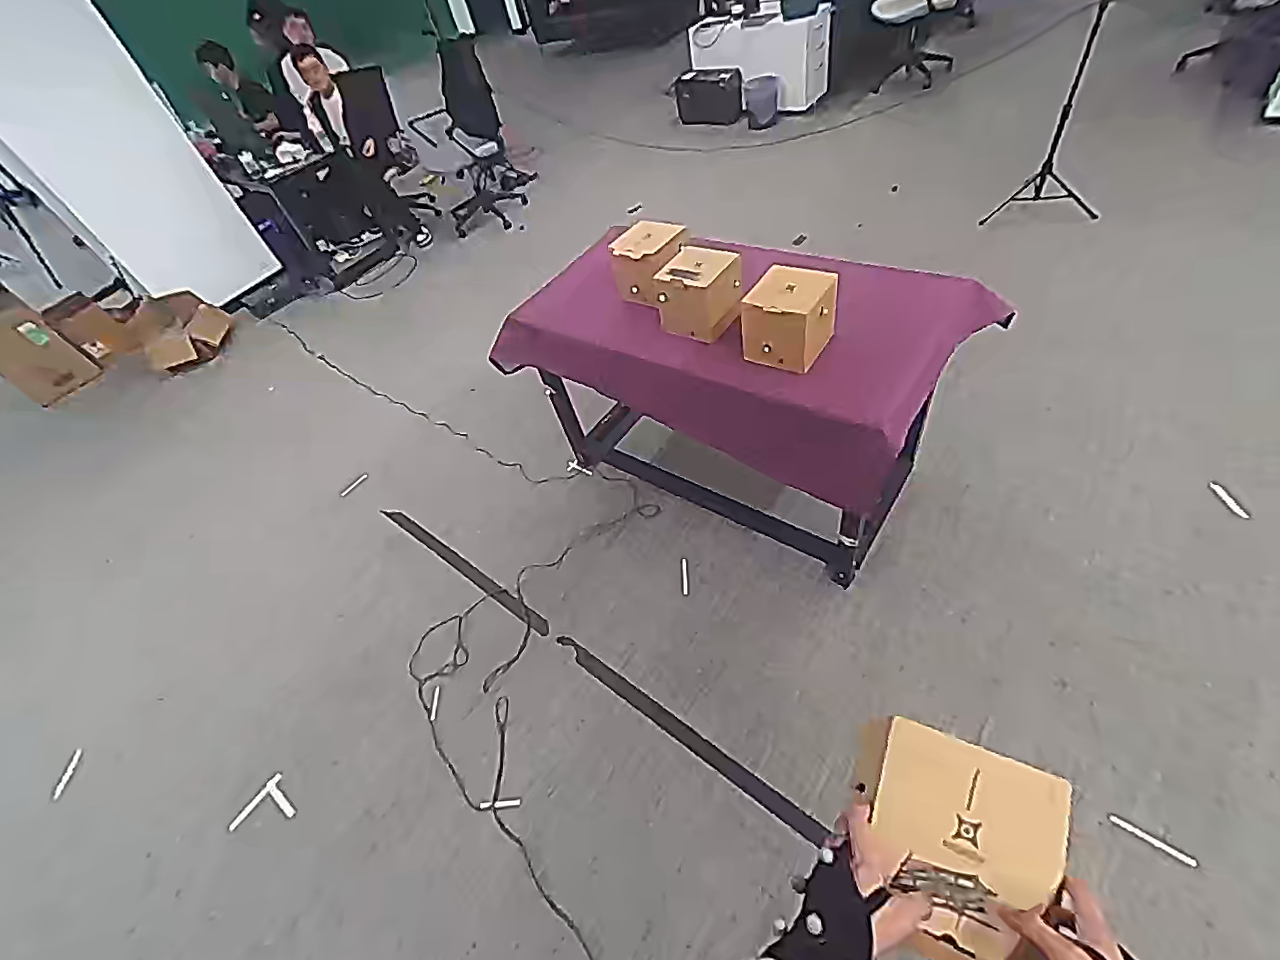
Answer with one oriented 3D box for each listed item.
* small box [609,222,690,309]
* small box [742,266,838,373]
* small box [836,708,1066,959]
[{"bbox_3d":[0.036,-0.642,1.617,0.168,0.176,0.179,24,60,31],"label":"small box"},{"bbox_3d":[0.363,-0.391,1.318,0.168,0.176,0.179,22,59,30],"label":"small box"},{"bbox_3d":[0.321,0.371,0.589,0.168,0.176,0.179,16,68,18],"label":"small box"}]
